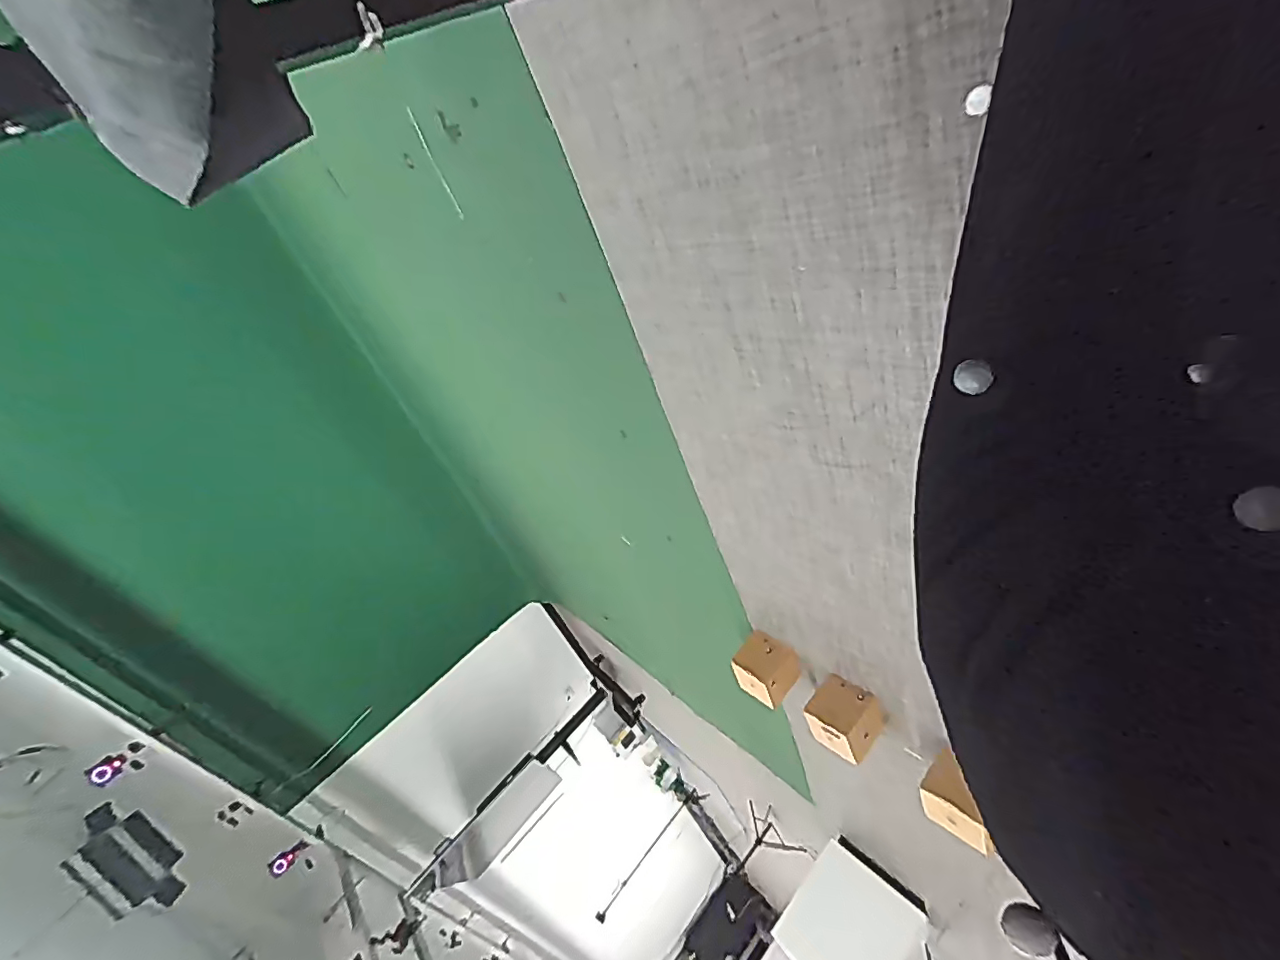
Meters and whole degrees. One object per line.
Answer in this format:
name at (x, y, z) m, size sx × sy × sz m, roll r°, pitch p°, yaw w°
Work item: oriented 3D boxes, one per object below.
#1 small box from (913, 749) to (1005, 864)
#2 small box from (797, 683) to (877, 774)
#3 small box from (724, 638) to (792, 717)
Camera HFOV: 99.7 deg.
small box at (0.878, 0.889, 1.483) m, size 0.168 × 0.176 × 0.179 m, roll 17°, pitch 139°, yaw 49°
small box at (0.644, 0.803, 1.764) m, size 0.168 × 0.176 × 0.179 m, roll 16°, pitch 139°, yaw 51°
small box at (0.442, 0.727, 2.005) m, size 0.168 × 0.176 × 0.179 m, roll 20°, pitch 141°, yaw 47°
